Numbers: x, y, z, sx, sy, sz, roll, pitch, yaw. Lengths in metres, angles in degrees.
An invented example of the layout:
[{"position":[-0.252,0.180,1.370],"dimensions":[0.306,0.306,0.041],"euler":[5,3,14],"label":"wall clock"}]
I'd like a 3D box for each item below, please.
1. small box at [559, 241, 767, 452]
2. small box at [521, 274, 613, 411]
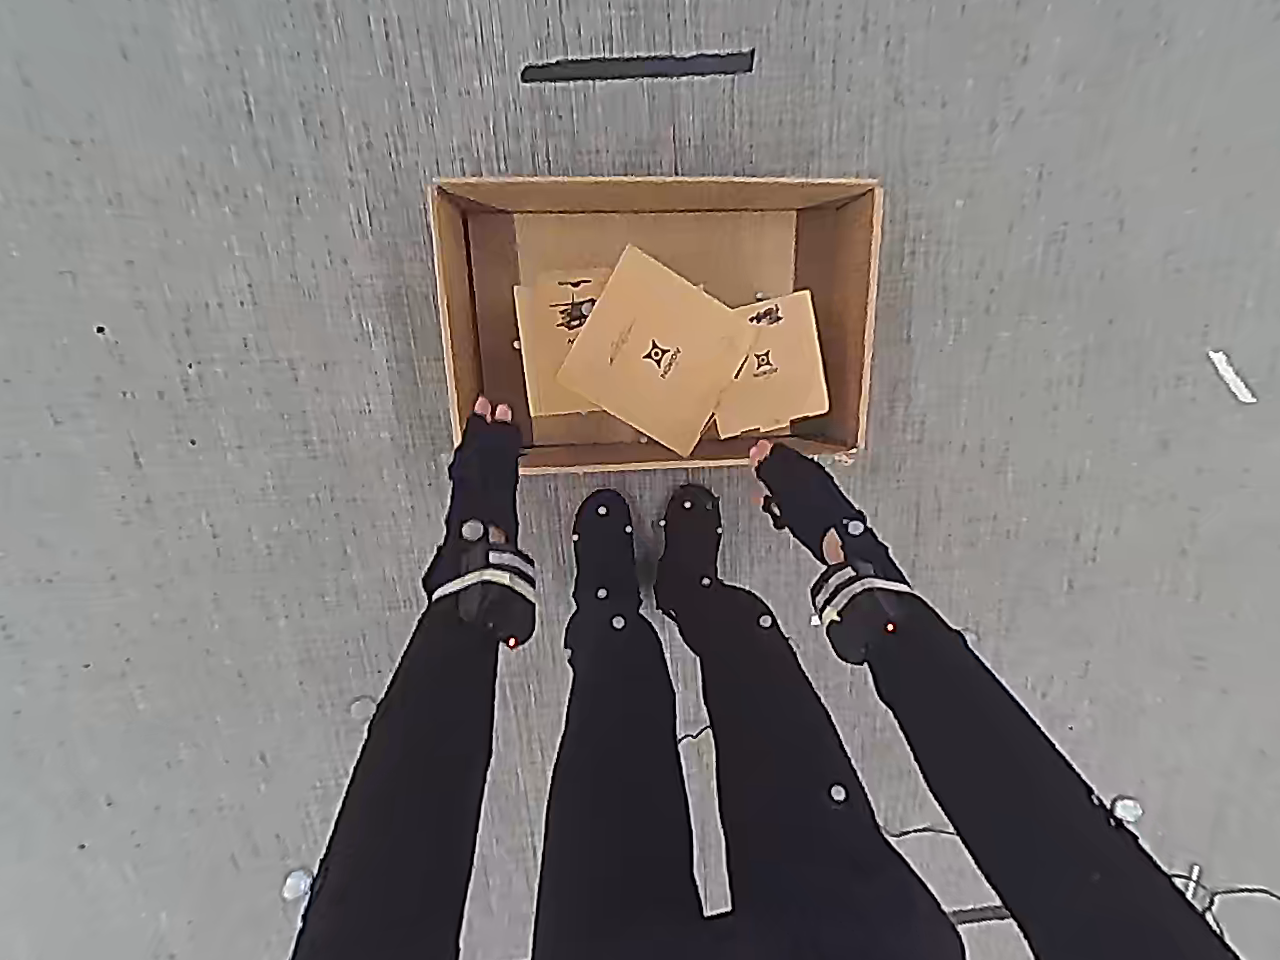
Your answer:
[{"position":[0.020,-0.157,0.661],"dimensions":[0.179,0.176,0.168],"euler":[29,98,-10],"label":"small box"},{"position":[-0.081,-0.203,0.808],"dimensions":[0.168,0.176,0.179],"euler":[-5,104,-5],"label":"small box"}]
